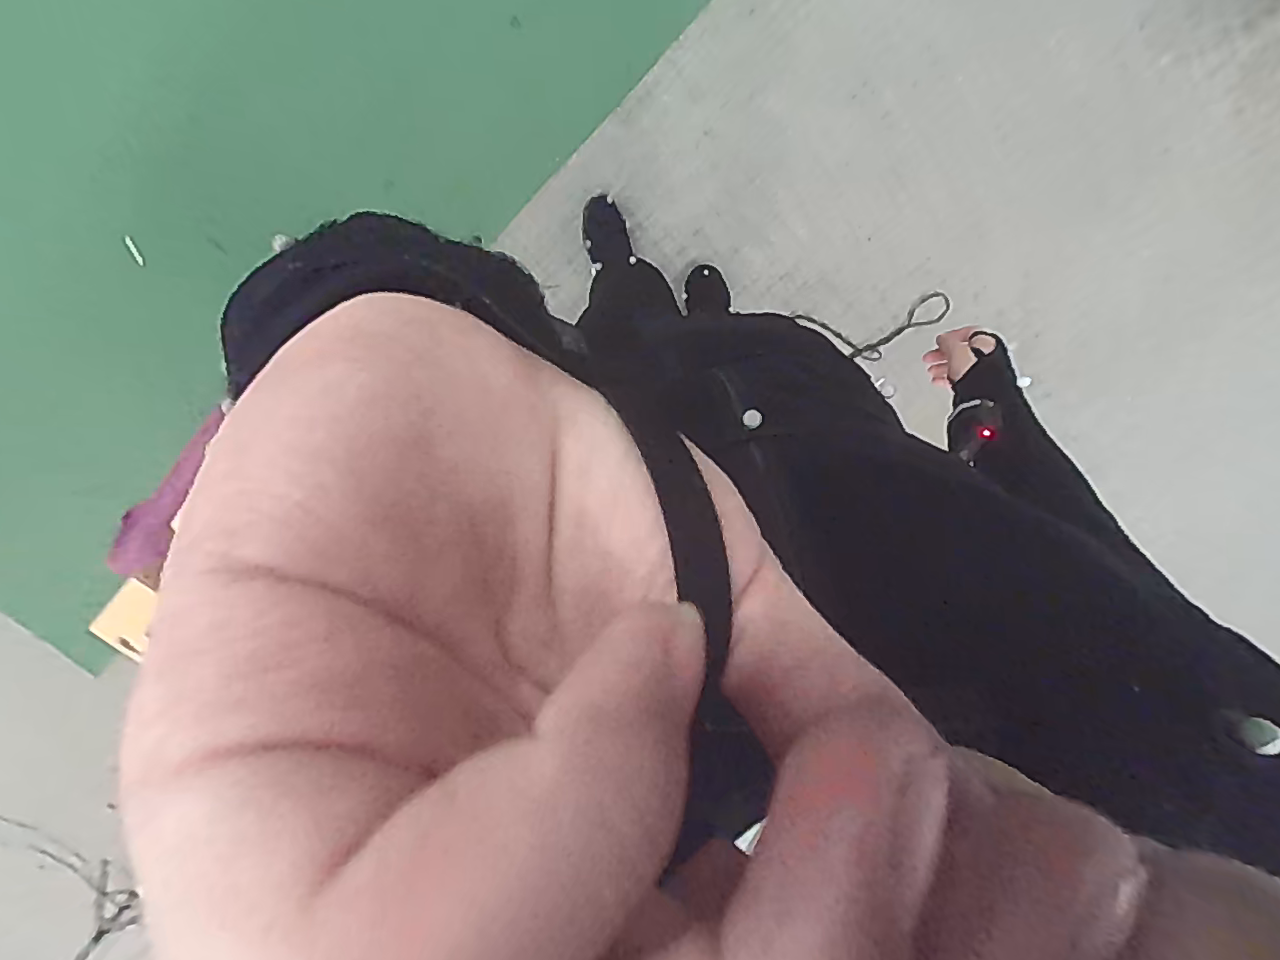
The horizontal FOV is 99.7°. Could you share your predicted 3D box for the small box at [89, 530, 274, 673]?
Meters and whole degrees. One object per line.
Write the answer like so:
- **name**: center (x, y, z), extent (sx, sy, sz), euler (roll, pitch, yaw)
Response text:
- **small box**: center (-0.824, 0.208, 0.995), extent (0.179, 0.176, 0.168), euler (-39, 107, 17)
